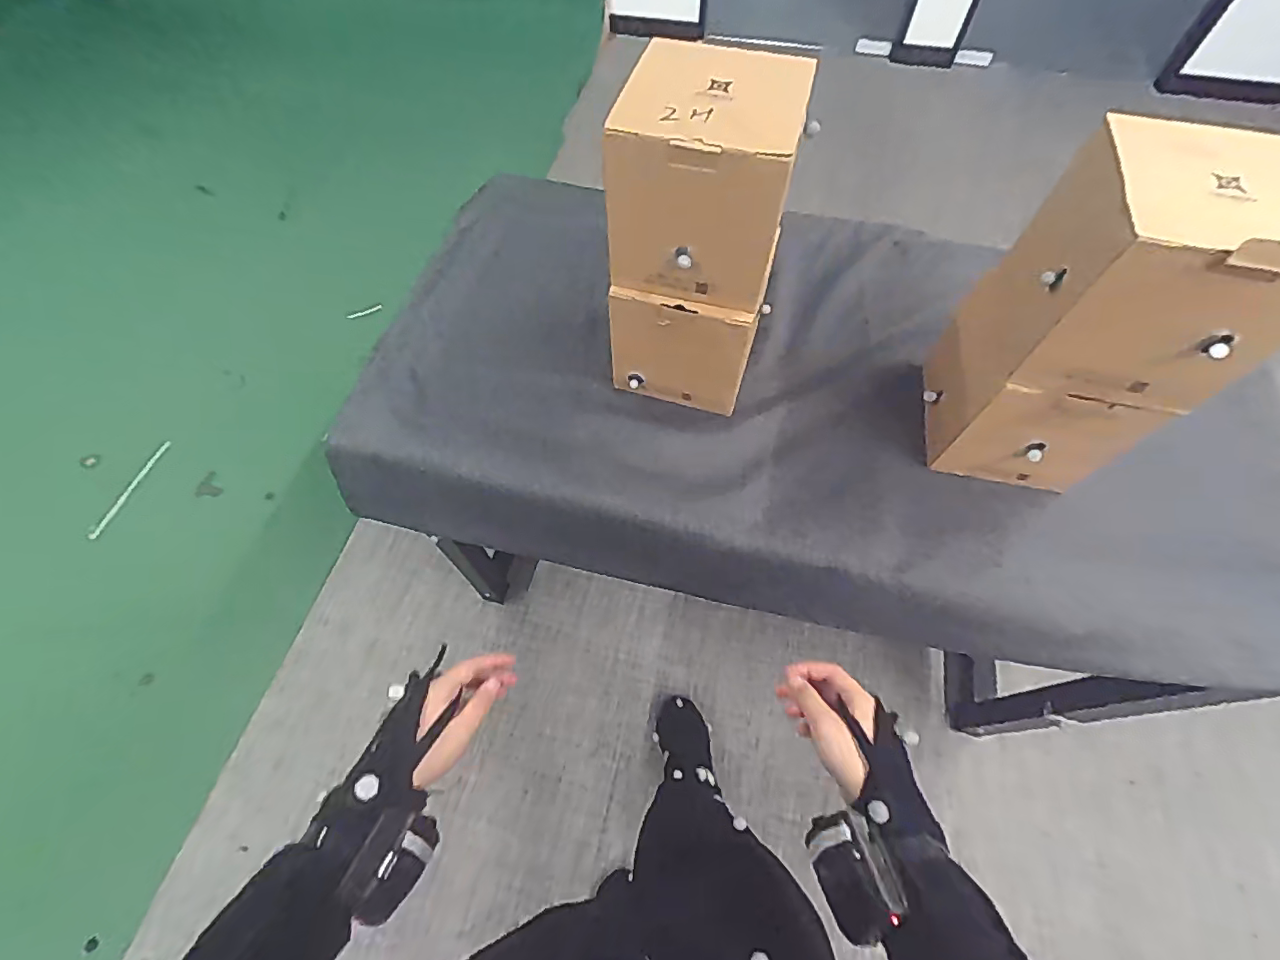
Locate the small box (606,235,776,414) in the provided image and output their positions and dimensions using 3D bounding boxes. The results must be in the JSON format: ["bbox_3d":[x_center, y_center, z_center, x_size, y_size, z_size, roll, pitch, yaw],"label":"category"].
[{"bbox_3d":[0.065,-0.213,0.704,0.168,0.176,0.179,15,61,8],"label":"small box"}]

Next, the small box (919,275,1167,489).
[{"bbox_3d":[0.453,-0.109,0.645,0.168,0.176,0.179,10,61,6],"label":"small box"}]

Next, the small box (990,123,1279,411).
[{"bbox_3d":[0.457,-0.189,0.503,0.168,0.176,0.179,13,60,7],"label":"small box"}]

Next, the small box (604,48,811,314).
[{"bbox_3d":[0.067,-0.308,0.569,0.168,0.176,0.179,13,61,8],"label":"small box"}]
